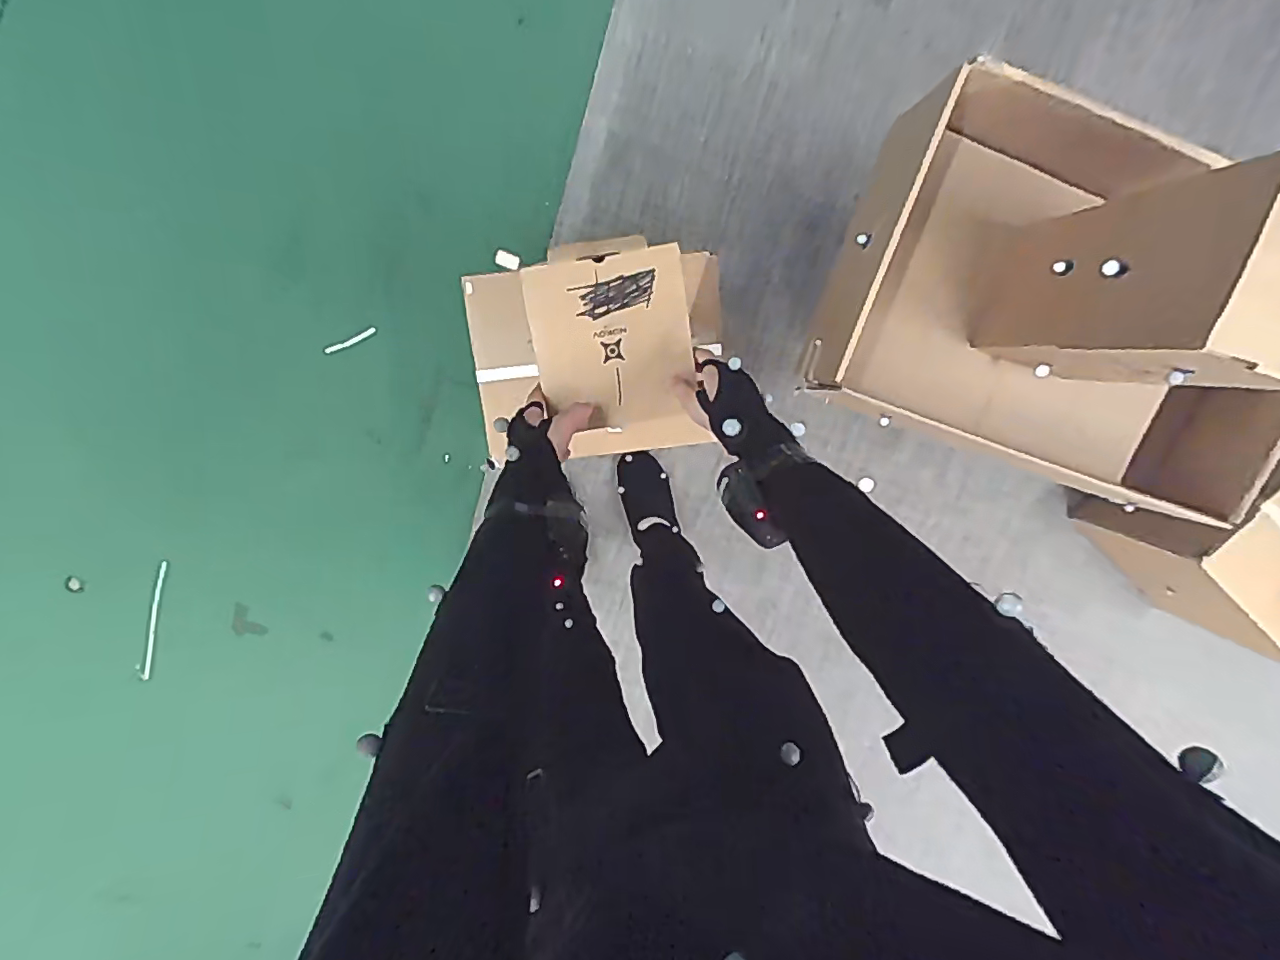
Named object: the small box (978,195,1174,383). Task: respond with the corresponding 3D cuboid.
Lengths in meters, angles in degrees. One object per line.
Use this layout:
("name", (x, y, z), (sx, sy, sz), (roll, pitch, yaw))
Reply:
("small box", (0.597, -0.240, 0.716), (0.168, 0.176, 0.179), (16, 102, -6))

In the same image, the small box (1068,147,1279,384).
("small box", (0.599, -0.203, 0.557), (0.168, 0.176, 0.179), (14, 103, -6))

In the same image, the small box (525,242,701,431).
("small box", (-0.028, -0.161, 0.641), (0.168, 0.176, 0.179), (-9, 101, 1))
